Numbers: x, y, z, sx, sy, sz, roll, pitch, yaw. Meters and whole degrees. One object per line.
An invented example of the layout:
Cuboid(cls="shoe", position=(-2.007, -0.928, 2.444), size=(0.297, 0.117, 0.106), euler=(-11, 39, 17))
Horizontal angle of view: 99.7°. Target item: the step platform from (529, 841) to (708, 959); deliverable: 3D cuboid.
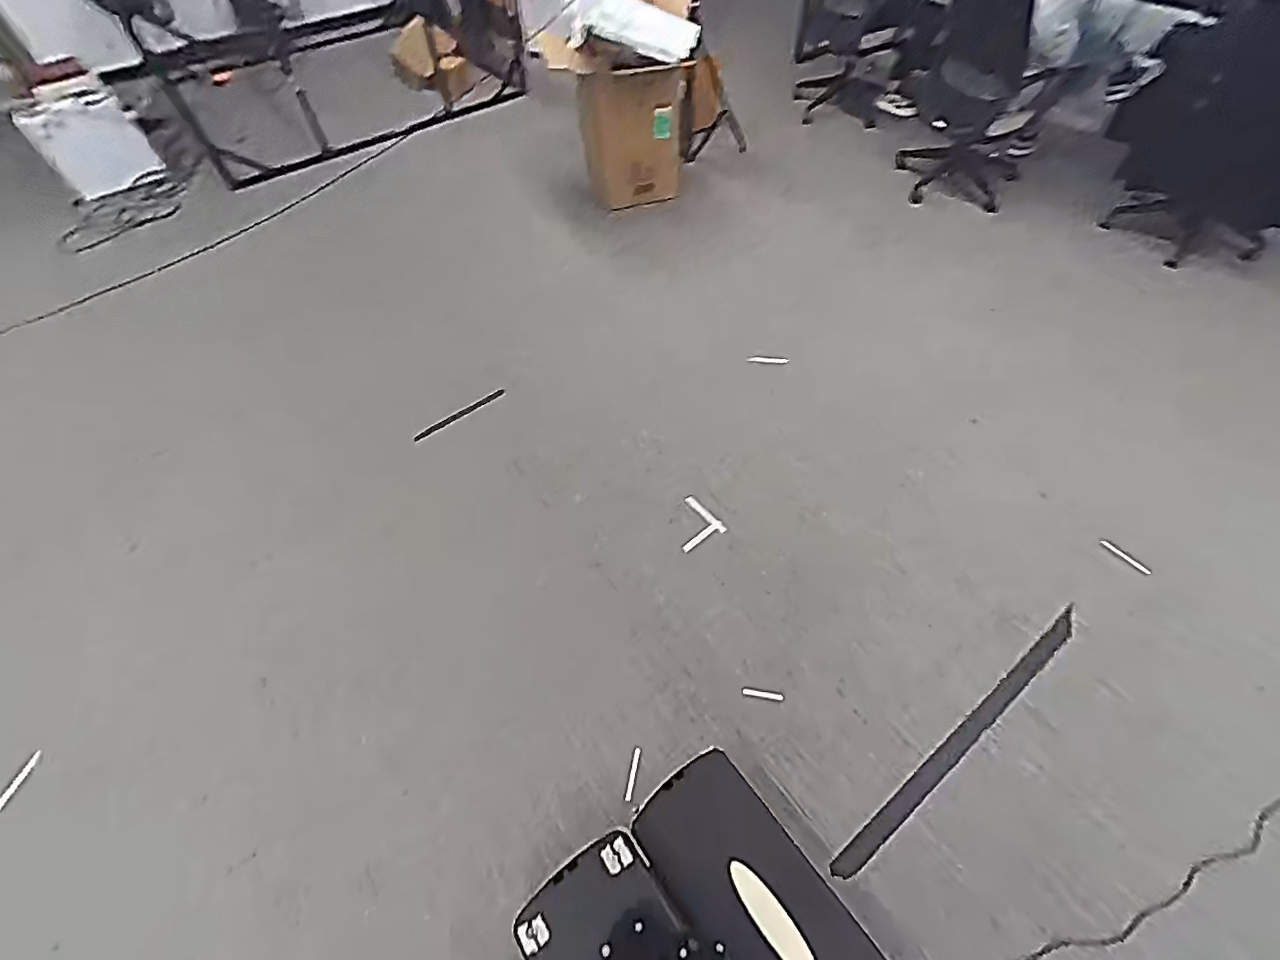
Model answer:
Cuboid(cls="step platform", position=(0.061, 1.074, 0.996), size=(0.286, 0.204, 0.684), euler=(-29, 56, -18))
